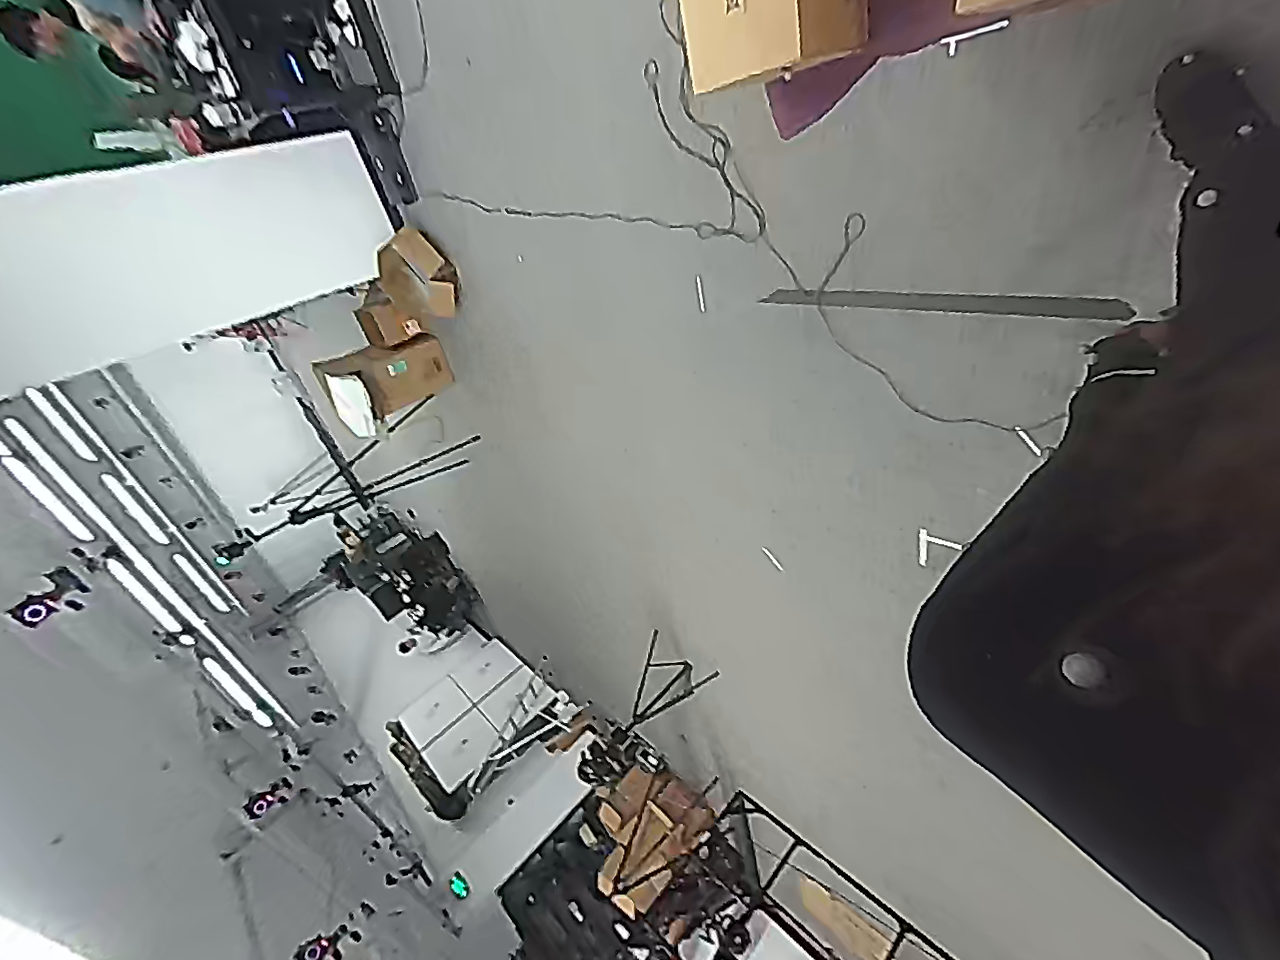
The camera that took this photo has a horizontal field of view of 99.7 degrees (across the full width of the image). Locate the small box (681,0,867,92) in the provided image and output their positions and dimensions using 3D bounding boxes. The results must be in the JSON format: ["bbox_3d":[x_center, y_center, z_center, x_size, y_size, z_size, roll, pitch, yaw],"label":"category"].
[{"bbox_3d":[0.174,-0.633,0.708,0.179,0.176,0.168,17,133,44],"label":"small box"}]
